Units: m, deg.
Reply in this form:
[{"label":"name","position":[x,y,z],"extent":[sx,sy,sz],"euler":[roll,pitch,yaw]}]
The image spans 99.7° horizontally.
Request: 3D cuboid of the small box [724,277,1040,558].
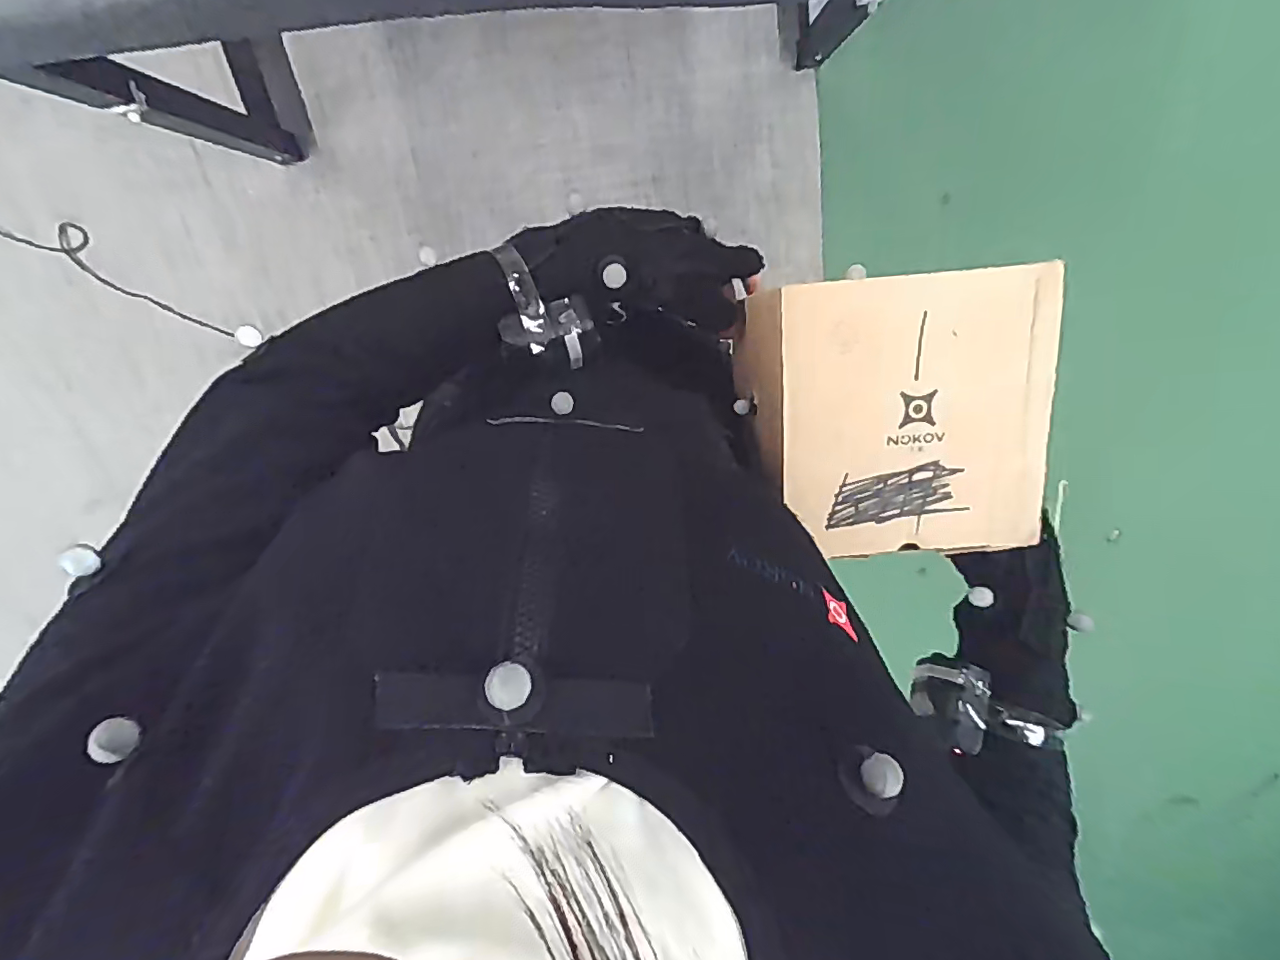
[{"label":"small box","position":[0.161,-0.054,0.421],"extent":[0.168,0.176,0.179],"euler":[-3,104,0]}]
